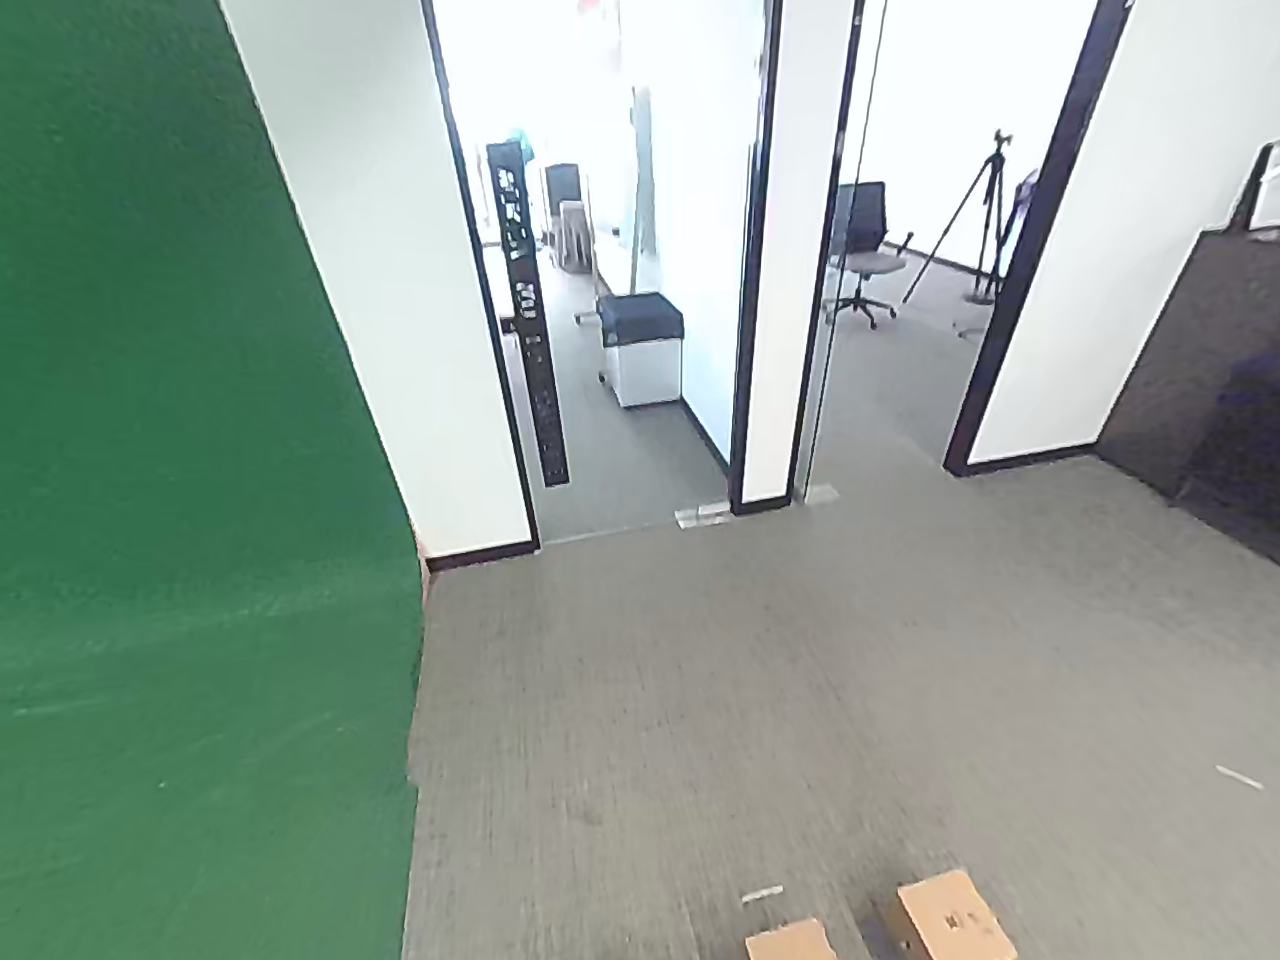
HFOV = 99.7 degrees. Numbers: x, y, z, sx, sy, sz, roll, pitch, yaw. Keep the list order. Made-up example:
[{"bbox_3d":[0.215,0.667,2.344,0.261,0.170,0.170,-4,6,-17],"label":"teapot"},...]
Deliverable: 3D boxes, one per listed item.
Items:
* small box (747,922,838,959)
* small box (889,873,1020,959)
[{"bbox_3d":[0.328,1.073,1.131,0.179,0.176,0.168,-9,34,-8],"label":"small box"},{"bbox_3d":[0.676,1.014,1.190,0.179,0.176,0.168,-9,35,-10],"label":"small box"}]
